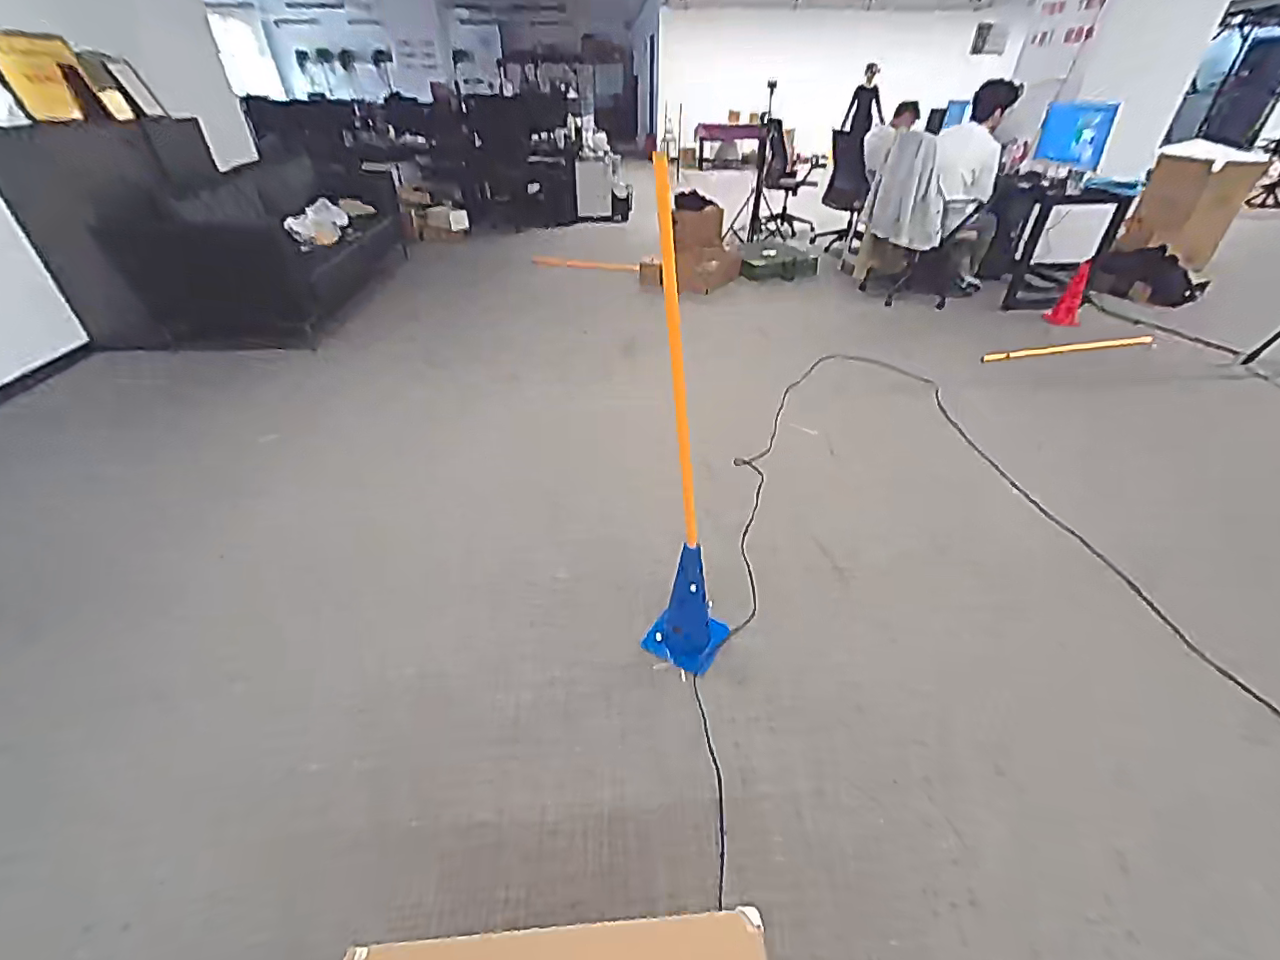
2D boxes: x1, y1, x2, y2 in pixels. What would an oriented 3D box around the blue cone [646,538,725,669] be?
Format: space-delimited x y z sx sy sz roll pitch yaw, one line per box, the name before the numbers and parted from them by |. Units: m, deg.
blue cone | 0.129 0.306 1.435 0.192 0.380 0.193 18 40 24
